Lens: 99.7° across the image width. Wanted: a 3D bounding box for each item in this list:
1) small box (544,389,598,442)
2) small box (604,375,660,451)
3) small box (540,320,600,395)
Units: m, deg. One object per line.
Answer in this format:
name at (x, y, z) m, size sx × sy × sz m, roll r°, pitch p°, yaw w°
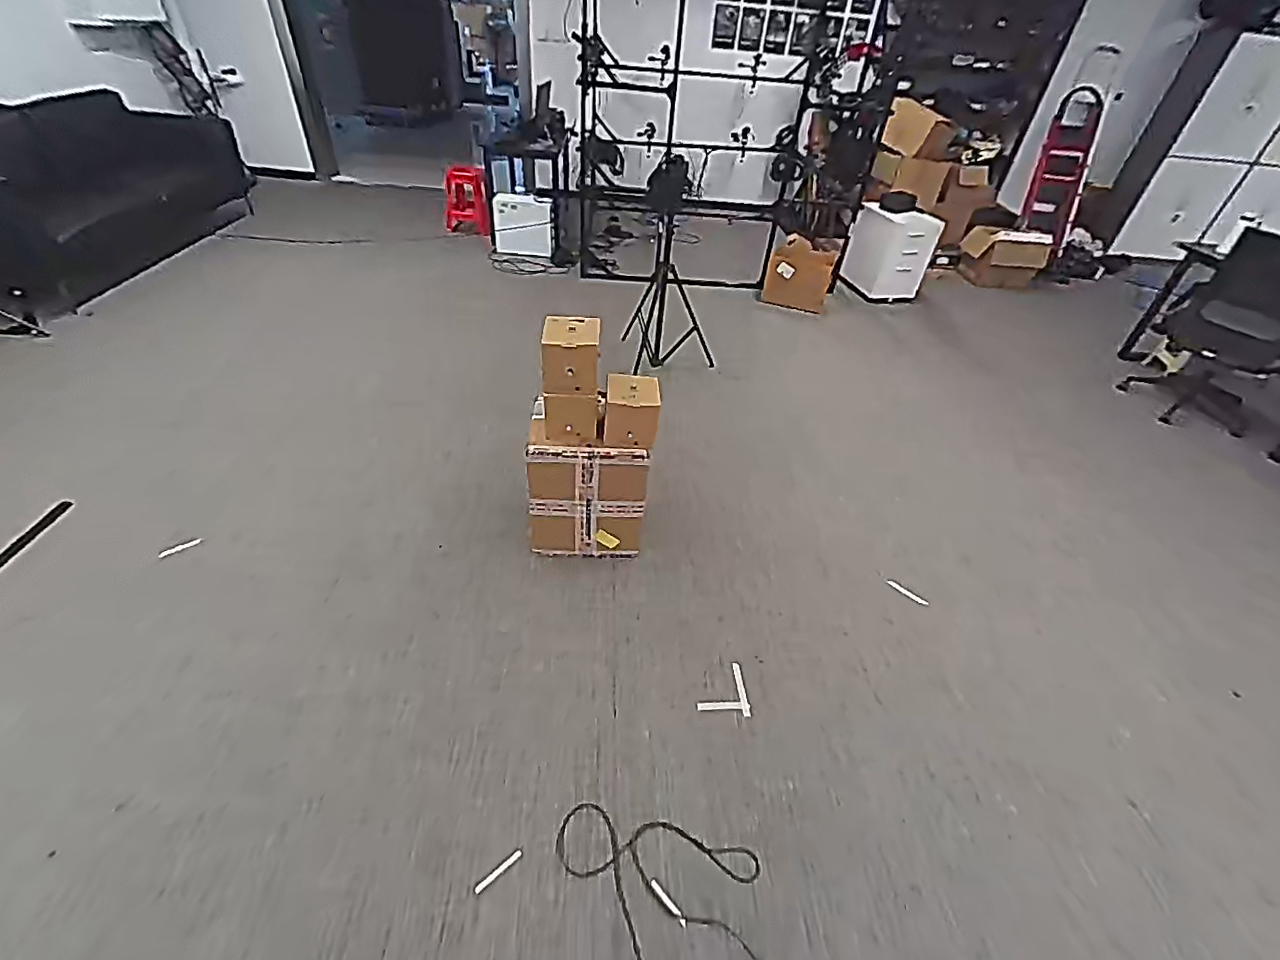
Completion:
small box at (-0.222, -0.244, 1.758) m, size 0.168 × 0.176 × 0.179 m, roll 0°, pitch 43°, yaw -5°
small box at (-0.030, -0.217, 1.750) m, size 0.168 × 0.176 × 0.179 m, roll 3°, pitch 42°, yaw -5°
small box at (-0.209, -0.373, 1.657) m, size 0.168 × 0.176 × 0.179 m, roll 1°, pitch 43°, yaw -4°
